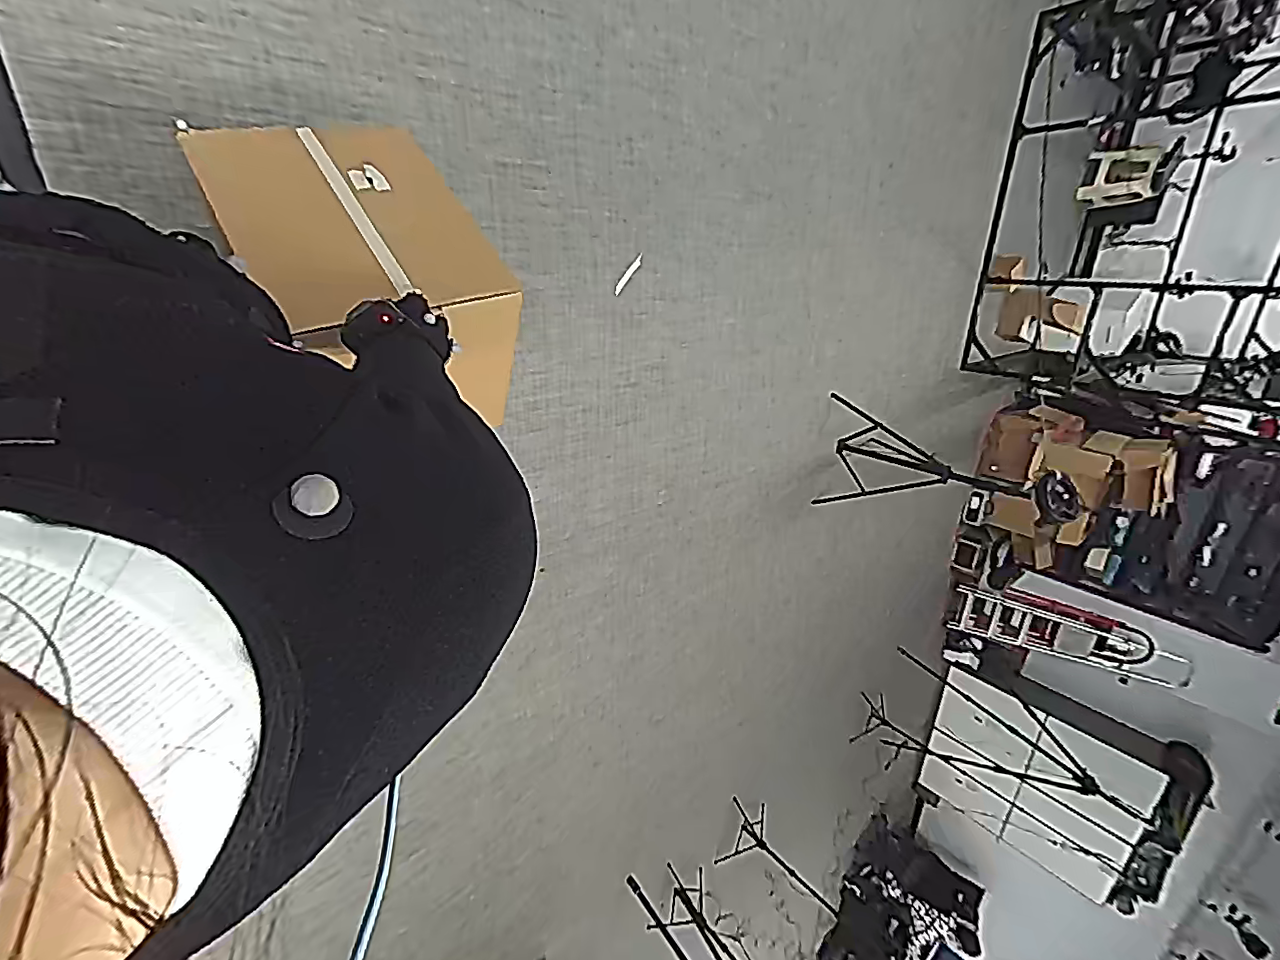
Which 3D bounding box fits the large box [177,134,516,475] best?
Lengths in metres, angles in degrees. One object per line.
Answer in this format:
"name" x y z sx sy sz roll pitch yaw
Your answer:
"large box" -0.447 -0.286 0.880 0.320 0.408 0.320 -25 159 -32
